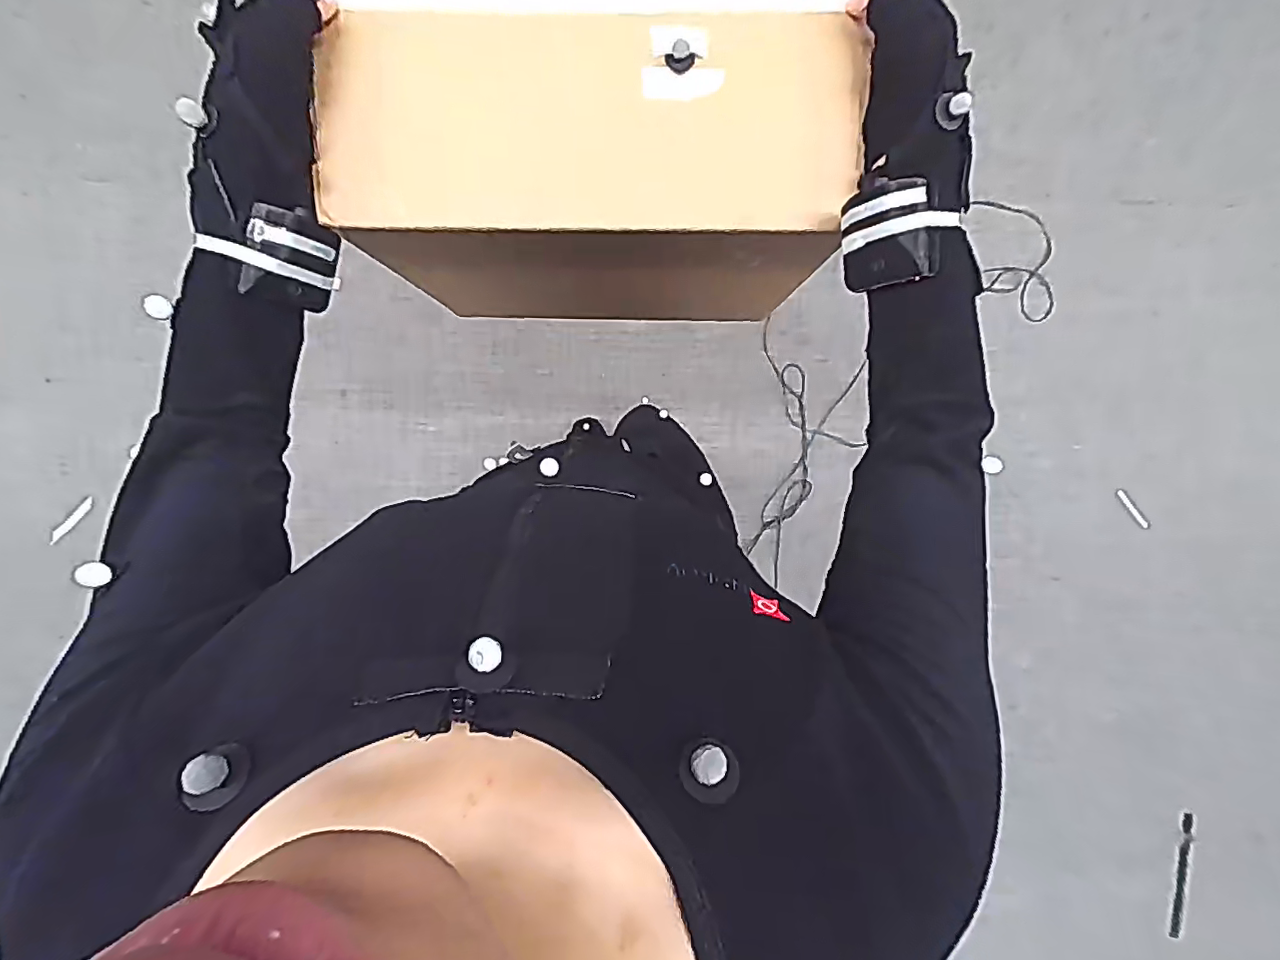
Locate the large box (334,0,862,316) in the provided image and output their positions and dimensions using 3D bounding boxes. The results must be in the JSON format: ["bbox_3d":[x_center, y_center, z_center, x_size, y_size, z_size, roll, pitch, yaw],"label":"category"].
[{"bbox_3d":[-0.033,-0.362,0.554,0.408,0.320,0.320,0,95,0],"label":"large box"}]
